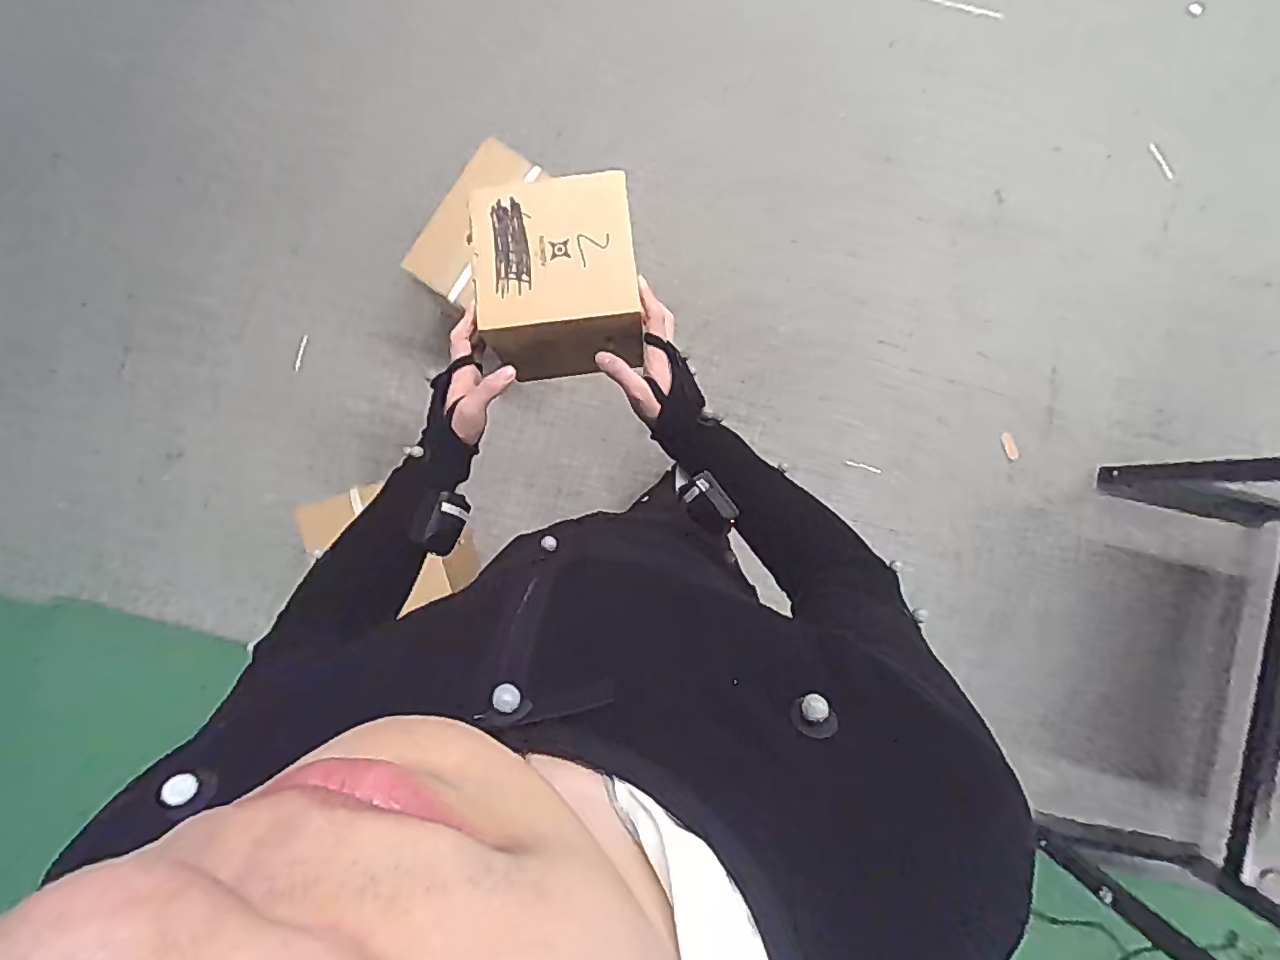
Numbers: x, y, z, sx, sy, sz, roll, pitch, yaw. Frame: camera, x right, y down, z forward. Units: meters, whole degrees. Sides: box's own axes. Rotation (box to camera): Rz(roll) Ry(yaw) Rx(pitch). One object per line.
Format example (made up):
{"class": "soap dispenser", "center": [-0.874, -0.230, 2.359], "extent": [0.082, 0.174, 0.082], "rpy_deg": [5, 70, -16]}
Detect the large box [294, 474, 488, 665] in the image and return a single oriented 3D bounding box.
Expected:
{"class": "large box", "center": [-0.650, 0.221, 1.475], "extent": [0.320, 0.320, 0.408], "rpy_deg": [-17, 90, -2]}
